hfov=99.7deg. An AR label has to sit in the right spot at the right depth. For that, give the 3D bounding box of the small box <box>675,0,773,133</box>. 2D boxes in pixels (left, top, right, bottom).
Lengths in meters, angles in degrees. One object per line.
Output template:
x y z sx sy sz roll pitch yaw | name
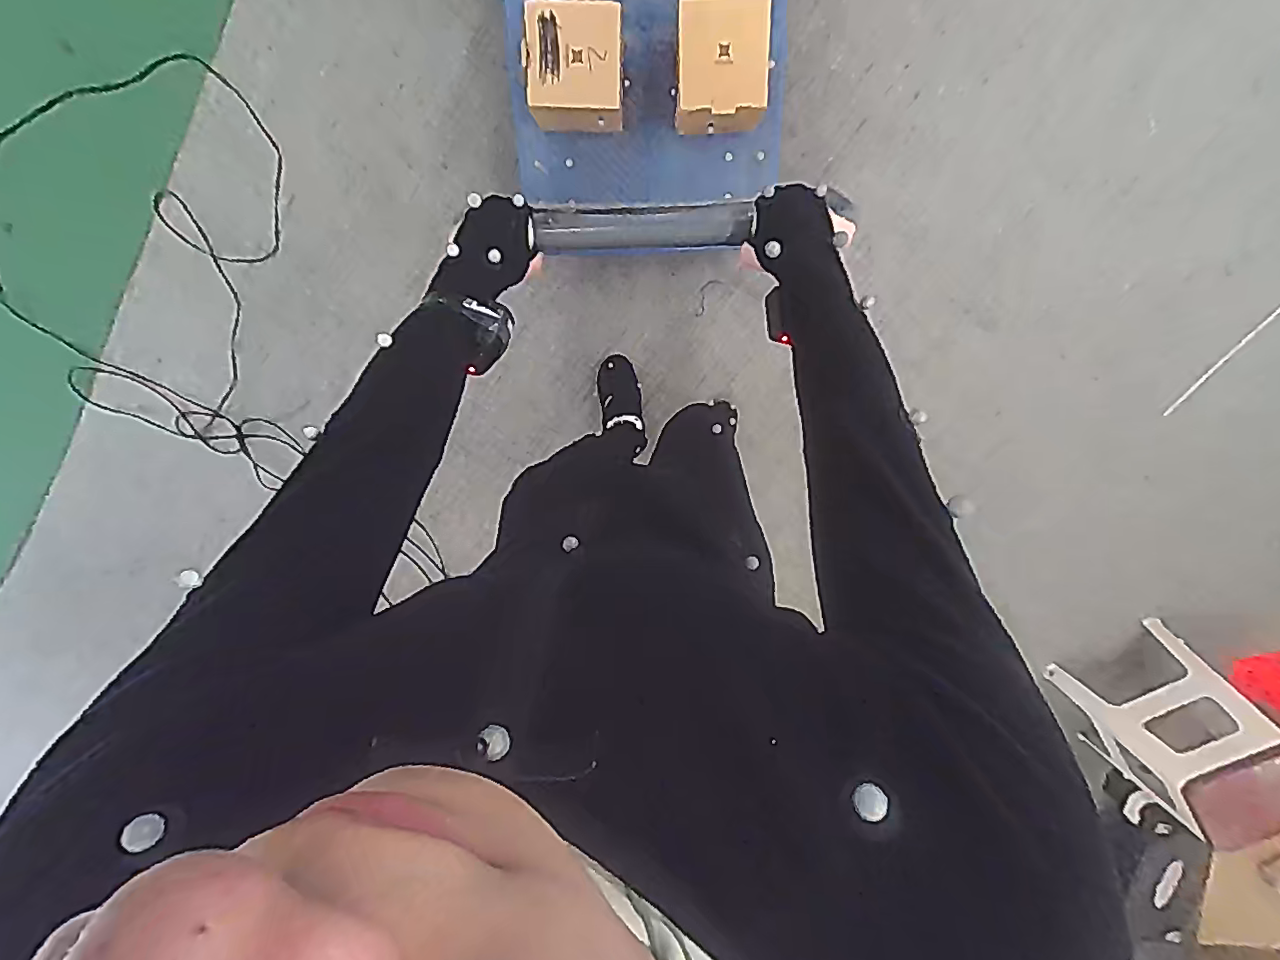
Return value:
0.156 -0.803 1.055 0.168 0.176 0.179 -2 111 2 | small box
